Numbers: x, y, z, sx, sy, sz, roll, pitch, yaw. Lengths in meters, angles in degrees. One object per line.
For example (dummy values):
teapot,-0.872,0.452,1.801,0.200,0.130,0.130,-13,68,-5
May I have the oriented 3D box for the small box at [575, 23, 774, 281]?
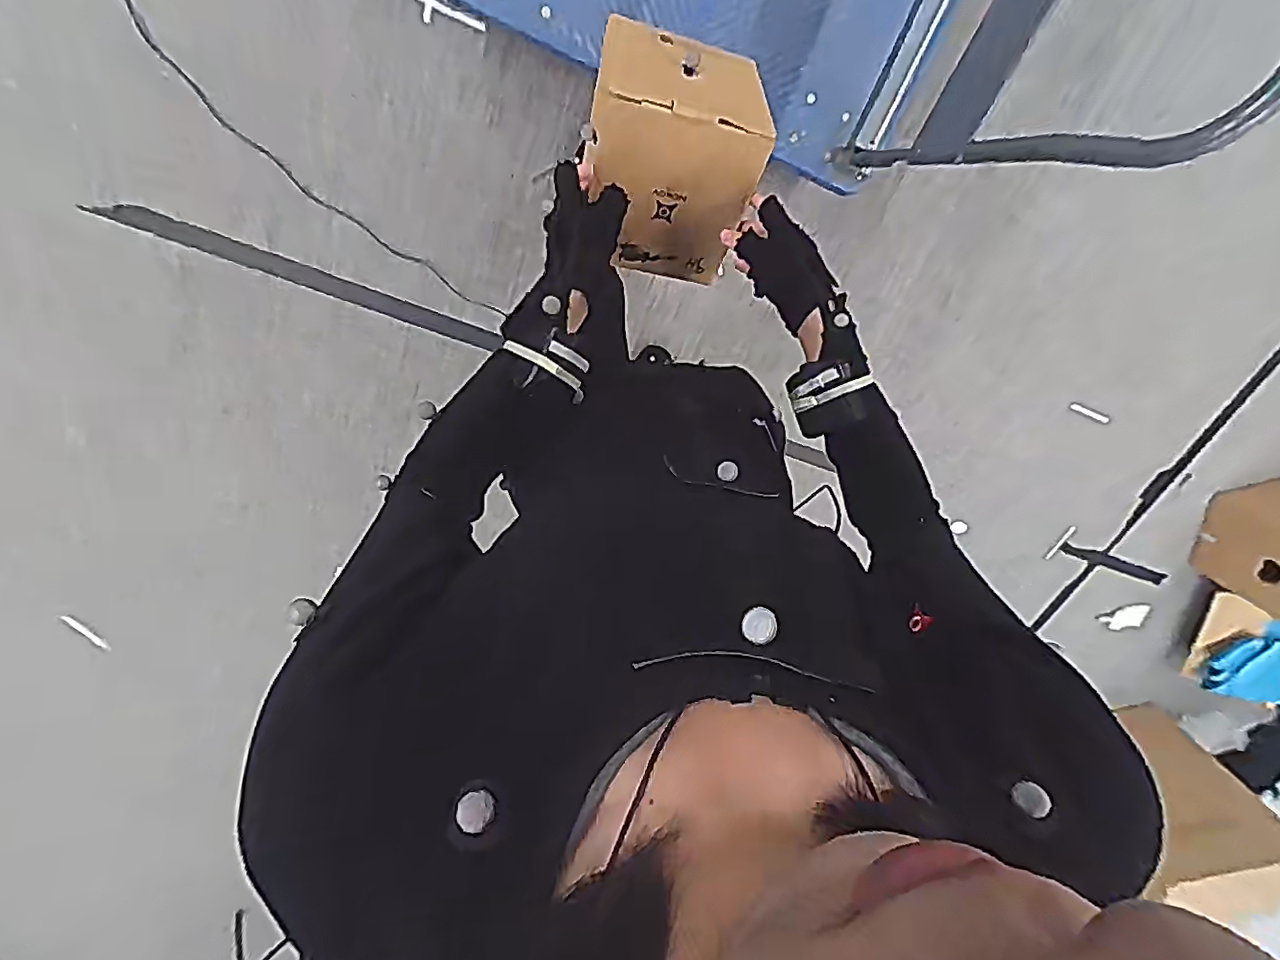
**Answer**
small box,0.024,-0.361,0.604,0.168,0.176,0.179,7,146,-14
